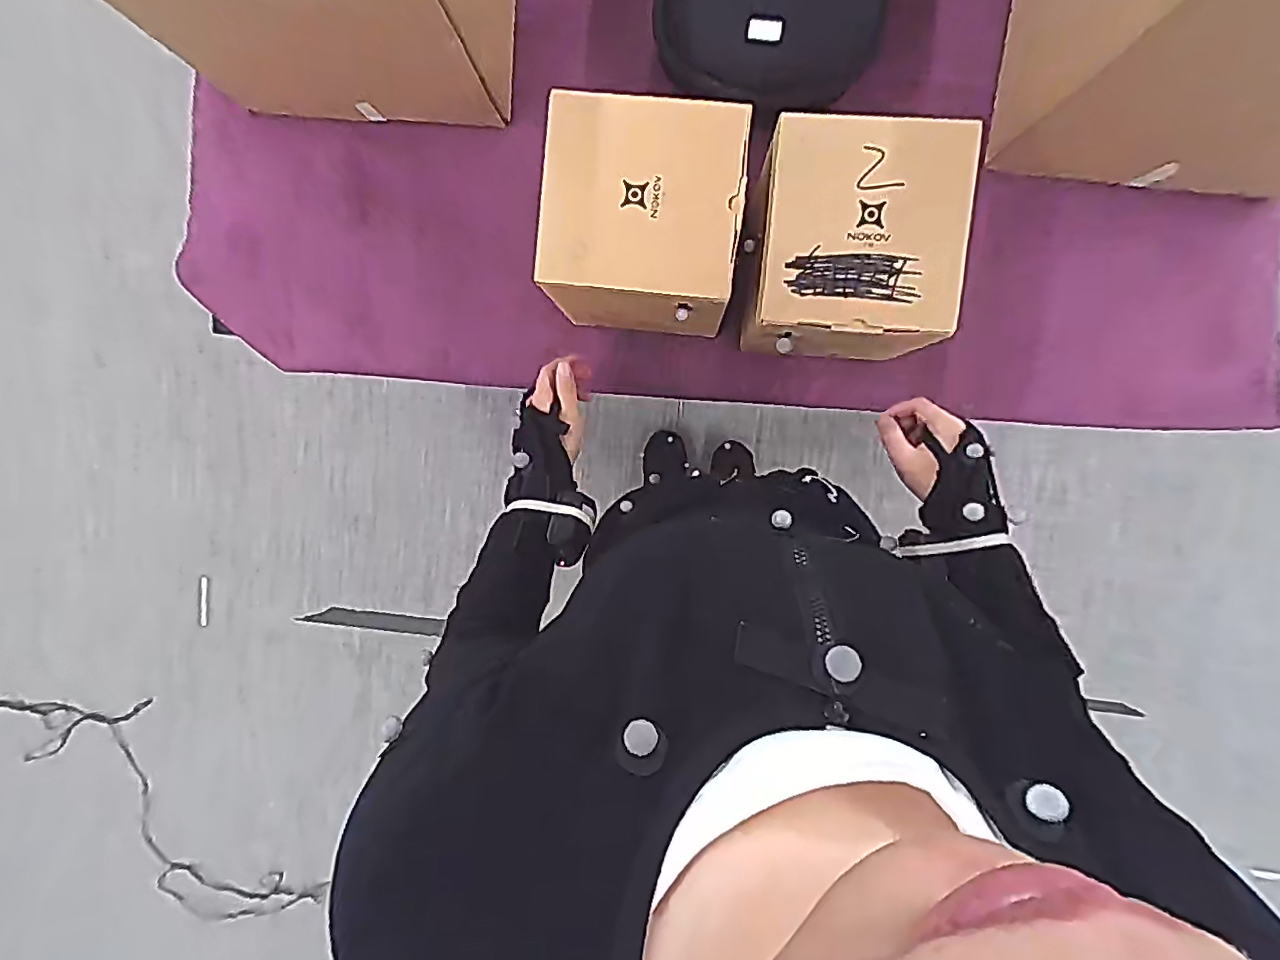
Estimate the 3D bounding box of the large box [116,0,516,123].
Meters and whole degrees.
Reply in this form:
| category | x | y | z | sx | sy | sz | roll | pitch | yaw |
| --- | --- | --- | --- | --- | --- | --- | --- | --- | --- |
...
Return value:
| category | x | y | z | sx | sy | sz | roll | pitch | yaw |
| --- | --- | --- | --- | --- | --- | --- | --- | --- | --- |
| large box | -0.291 | -0.600 | 0.461 | 0.320 | 0.320 | 0.408 | 3 | 98 | 2 |
